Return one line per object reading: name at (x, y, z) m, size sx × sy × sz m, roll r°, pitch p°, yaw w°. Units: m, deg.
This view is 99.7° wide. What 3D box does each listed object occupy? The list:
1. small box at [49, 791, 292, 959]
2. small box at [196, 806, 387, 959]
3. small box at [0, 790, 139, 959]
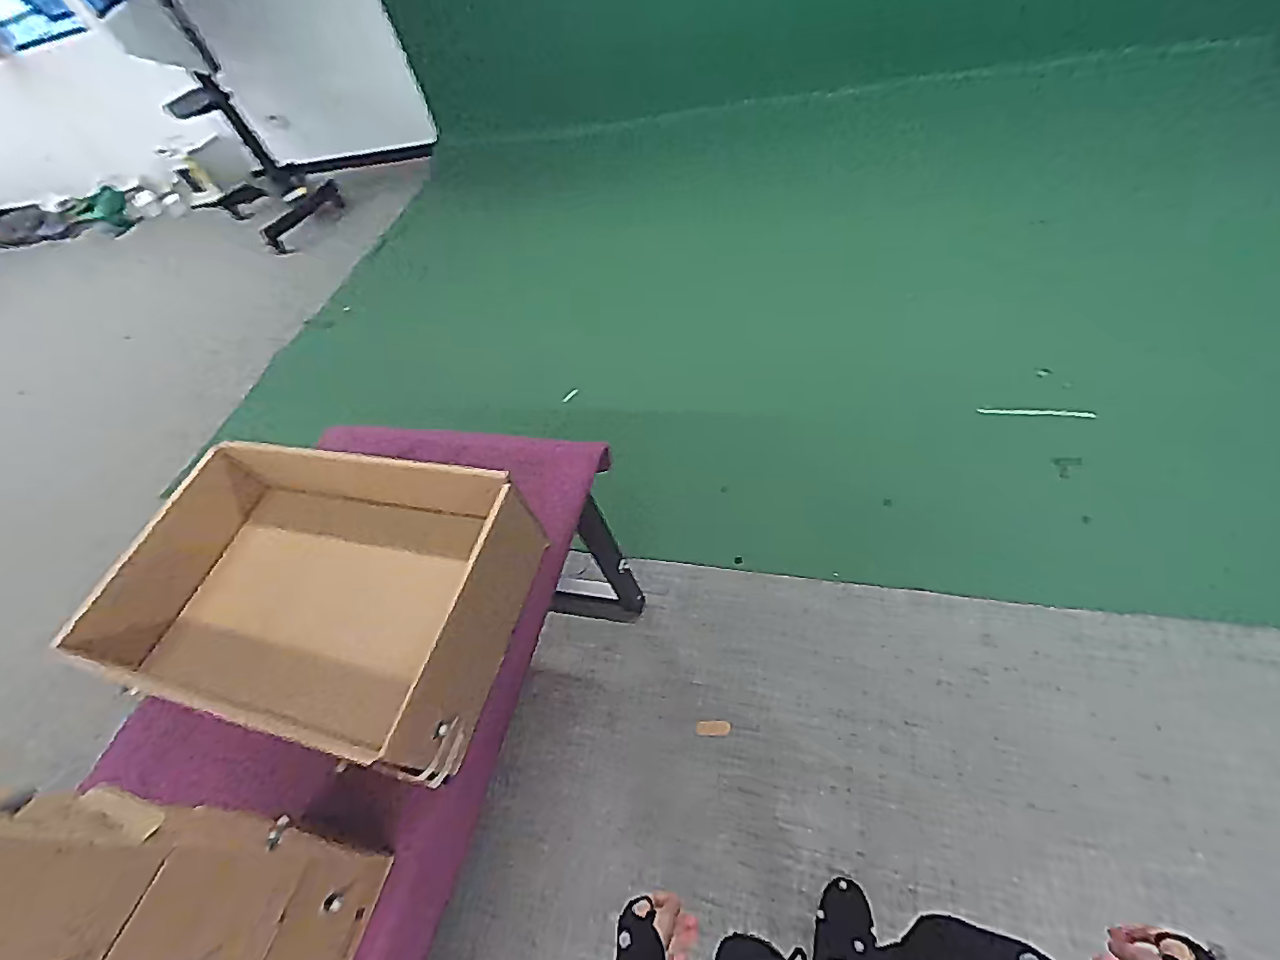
small box at (-0.462, 0.408, 0.486) m, size 0.168 × 0.176 × 0.179 m, roll 6°, pitch 57°, yaw 20°
small box at (-0.435, 0.496, 0.621) m, size 0.179 × 0.176 × 0.168 m, roll 5°, pitch 56°, yaw 20°
small box at (-0.497, 0.313, 0.355) m, size 0.168 × 0.176 × 0.179 m, roll 5°, pitch 55°, yaw 20°
